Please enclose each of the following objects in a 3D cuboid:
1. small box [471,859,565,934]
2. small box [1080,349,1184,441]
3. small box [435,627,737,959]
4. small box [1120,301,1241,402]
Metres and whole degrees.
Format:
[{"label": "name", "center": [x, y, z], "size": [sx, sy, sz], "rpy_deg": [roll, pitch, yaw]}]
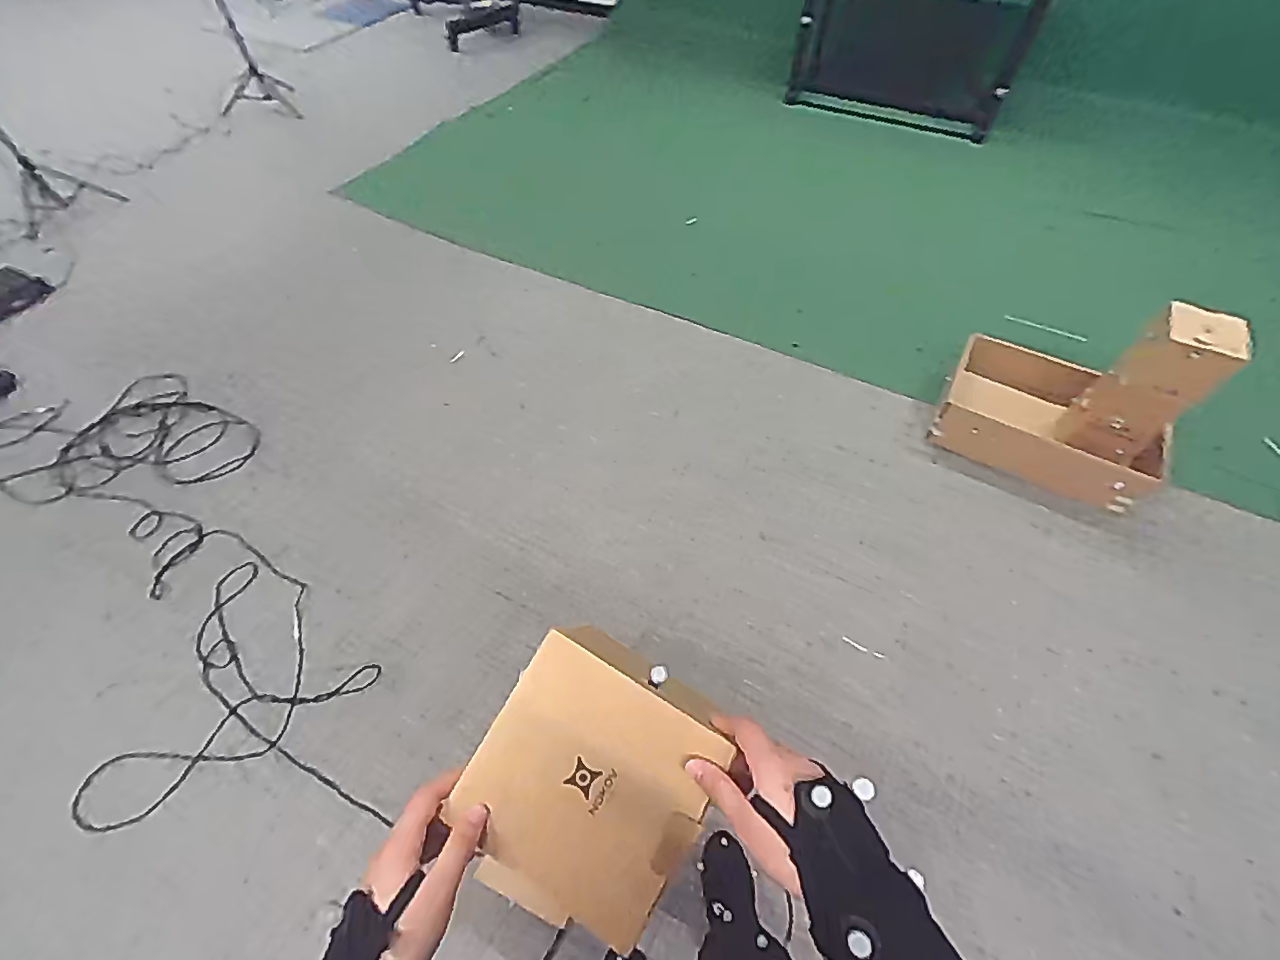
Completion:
[{"label": "small box", "center": [-0.173, 0.686, 0.988], "size": [0.179, 0.176, 0.168], "rpy_deg": [19, 58, 13]}, {"label": "small box", "center": [1.441, -0.249, 1.586], "size": [0.168, 0.176, 0.179], "rpy_deg": [26, 61, 18]}, {"label": "small box", "center": [-0.037, 0.248, 0.482], "size": [0.179, 0.176, 0.168], "rpy_deg": [30, 80, 10]}, {"label": "small box", "center": [1.438, -0.342, 1.451], "size": [0.168, 0.176, 0.179], "rpy_deg": [23, 58, 17]}]
